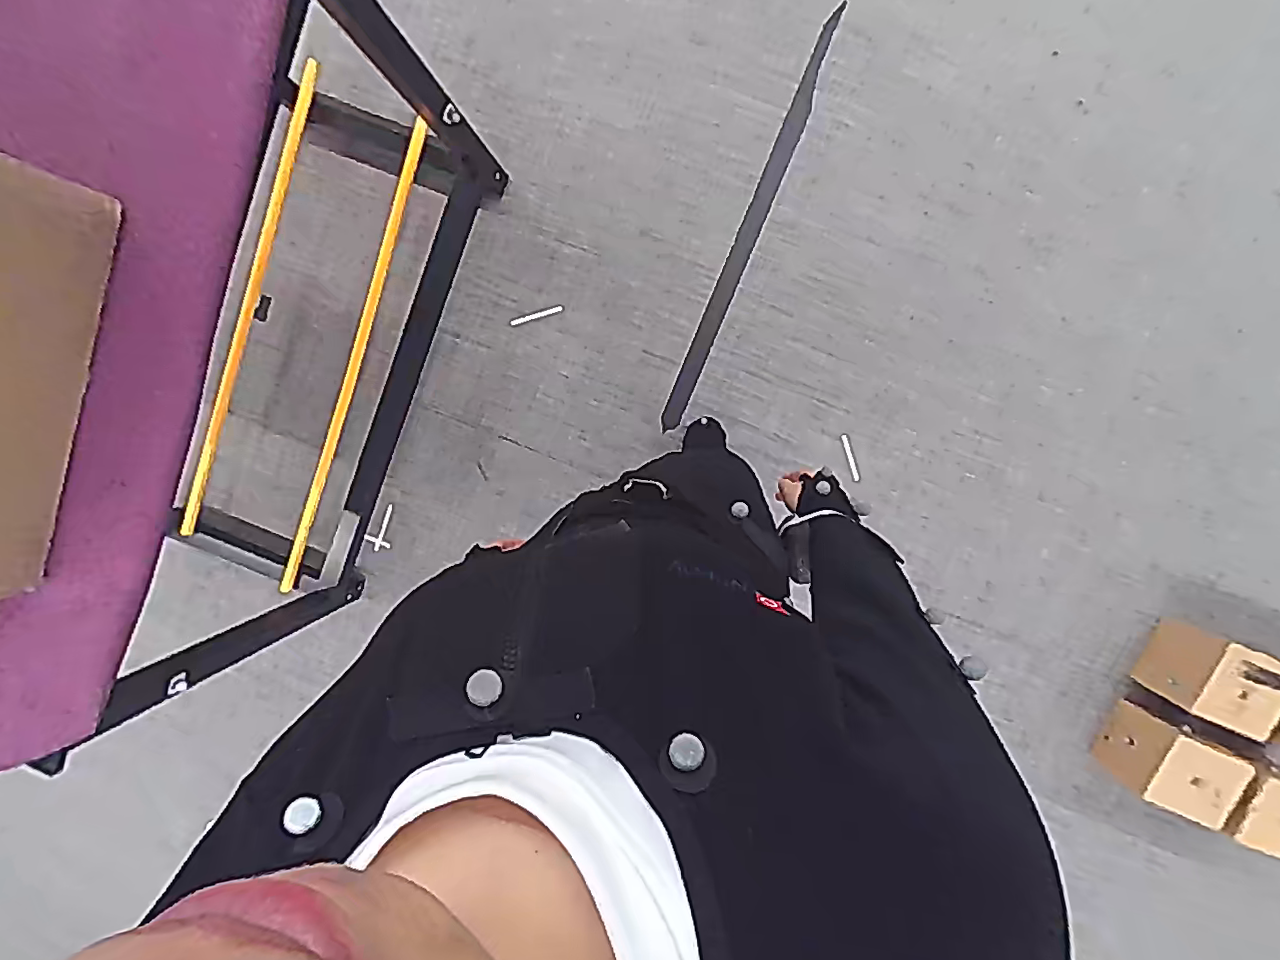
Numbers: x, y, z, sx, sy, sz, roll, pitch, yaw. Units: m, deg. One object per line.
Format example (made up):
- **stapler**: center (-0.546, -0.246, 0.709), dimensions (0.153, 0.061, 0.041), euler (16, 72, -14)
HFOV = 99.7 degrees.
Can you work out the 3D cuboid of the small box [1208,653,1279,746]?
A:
- **small box**: center (1.482, 0.520, 1.233), dimensions (0.179, 0.176, 0.168), euler (21, 97, 1)
